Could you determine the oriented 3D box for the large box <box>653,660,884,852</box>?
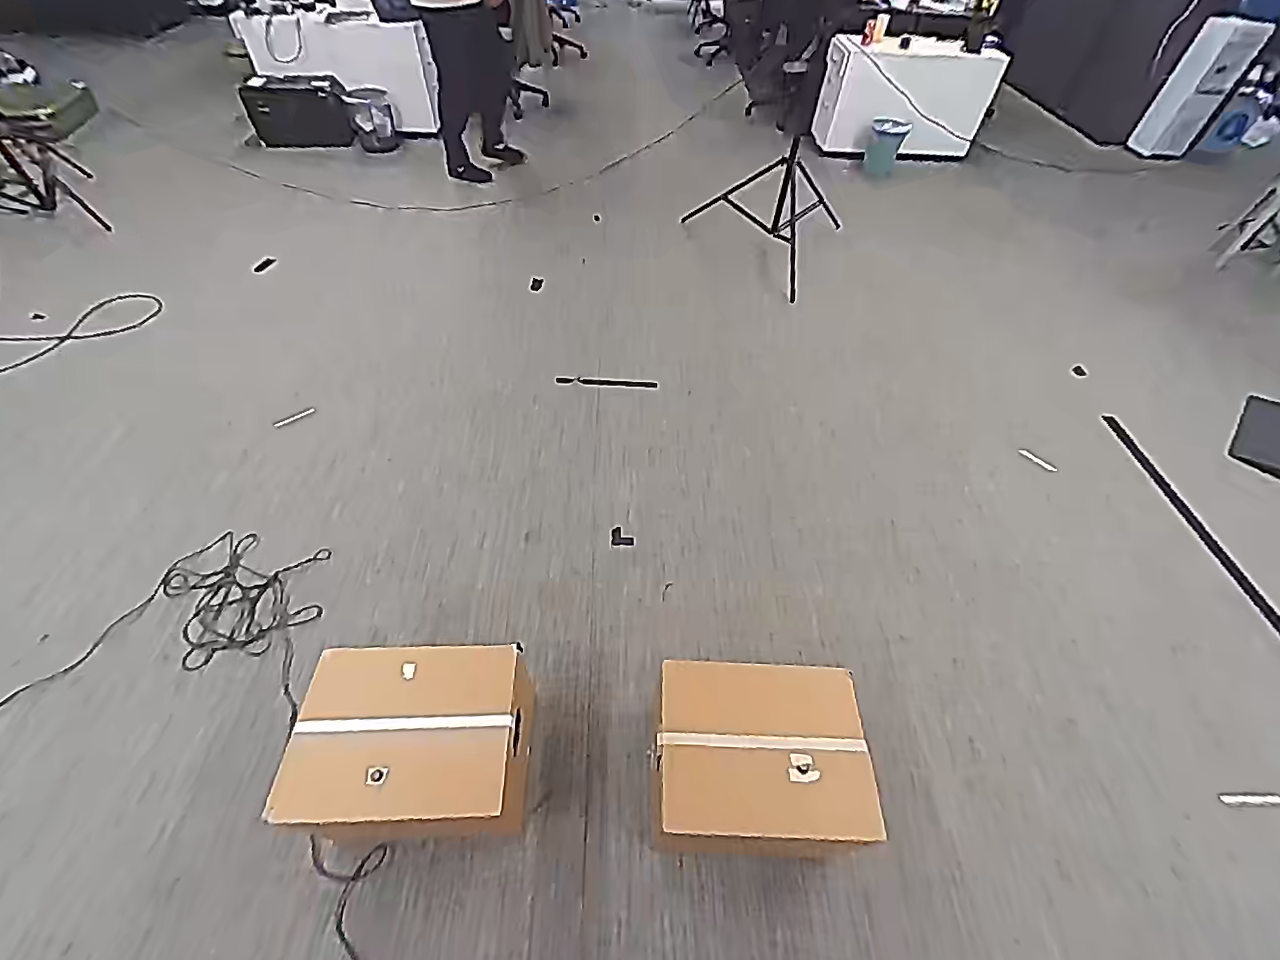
[{"bbox_3d":[0.238,0.606,1.176,0.408,0.320,0.320,3,51,-2],"label":"large box"}]
